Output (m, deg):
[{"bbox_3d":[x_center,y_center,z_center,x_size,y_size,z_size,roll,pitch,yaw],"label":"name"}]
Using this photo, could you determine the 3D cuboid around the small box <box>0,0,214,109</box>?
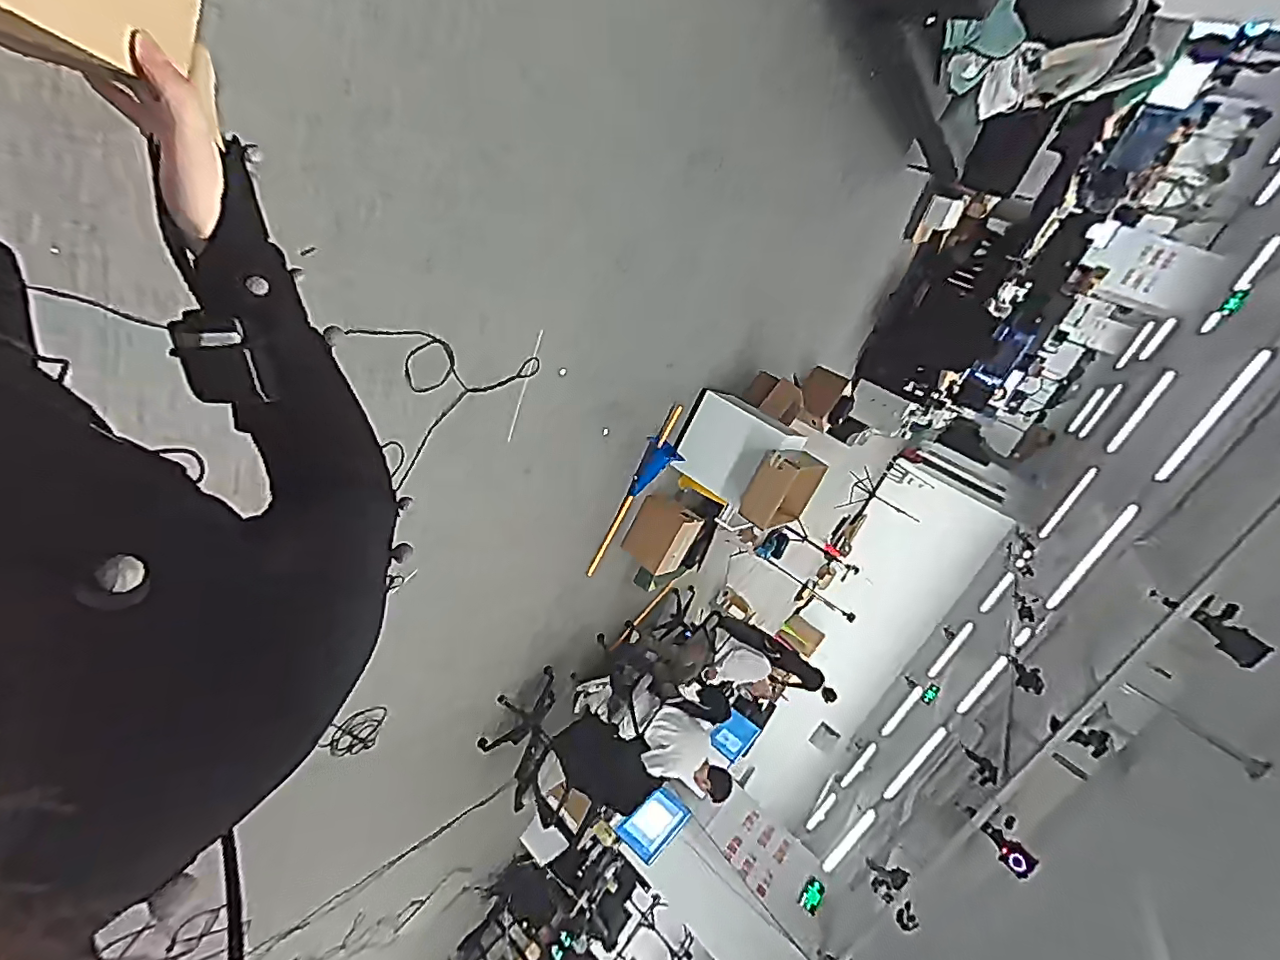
[{"bbox_3d":[-0.346,-0.332,0.262,0.179,0.176,0.168,-70,166,11],"label":"small box"}]
